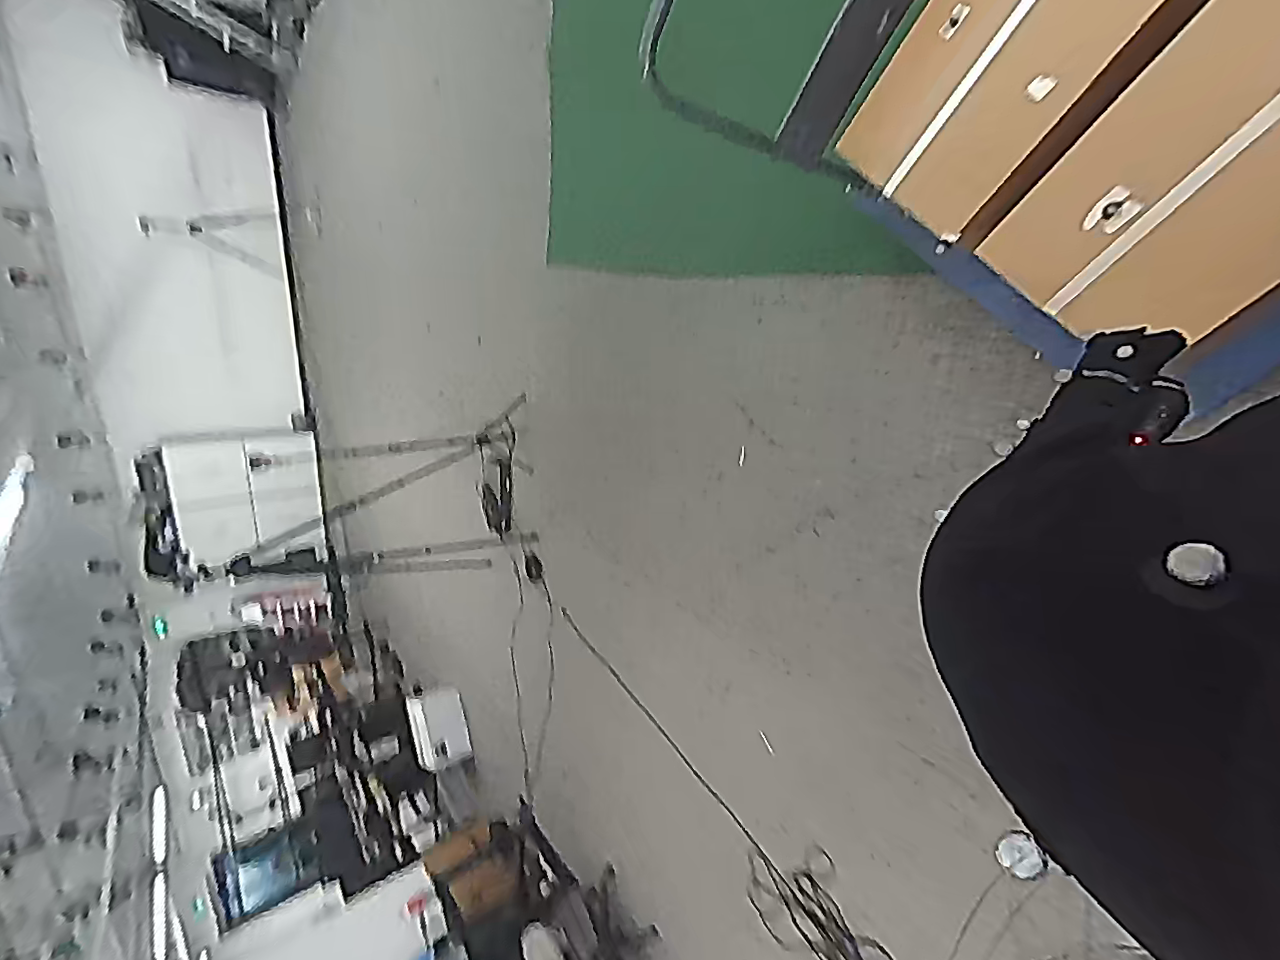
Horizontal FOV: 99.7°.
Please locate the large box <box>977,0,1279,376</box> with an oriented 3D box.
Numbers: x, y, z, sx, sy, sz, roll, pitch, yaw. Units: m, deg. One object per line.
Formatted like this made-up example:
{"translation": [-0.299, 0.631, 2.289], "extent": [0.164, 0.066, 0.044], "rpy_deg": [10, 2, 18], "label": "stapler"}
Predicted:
{"translation": [0.816, -0.410, 0.779], "extent": [0.320, 0.320, 0.408], "rpy_deg": [58, 138, 24], "label": "large box"}
